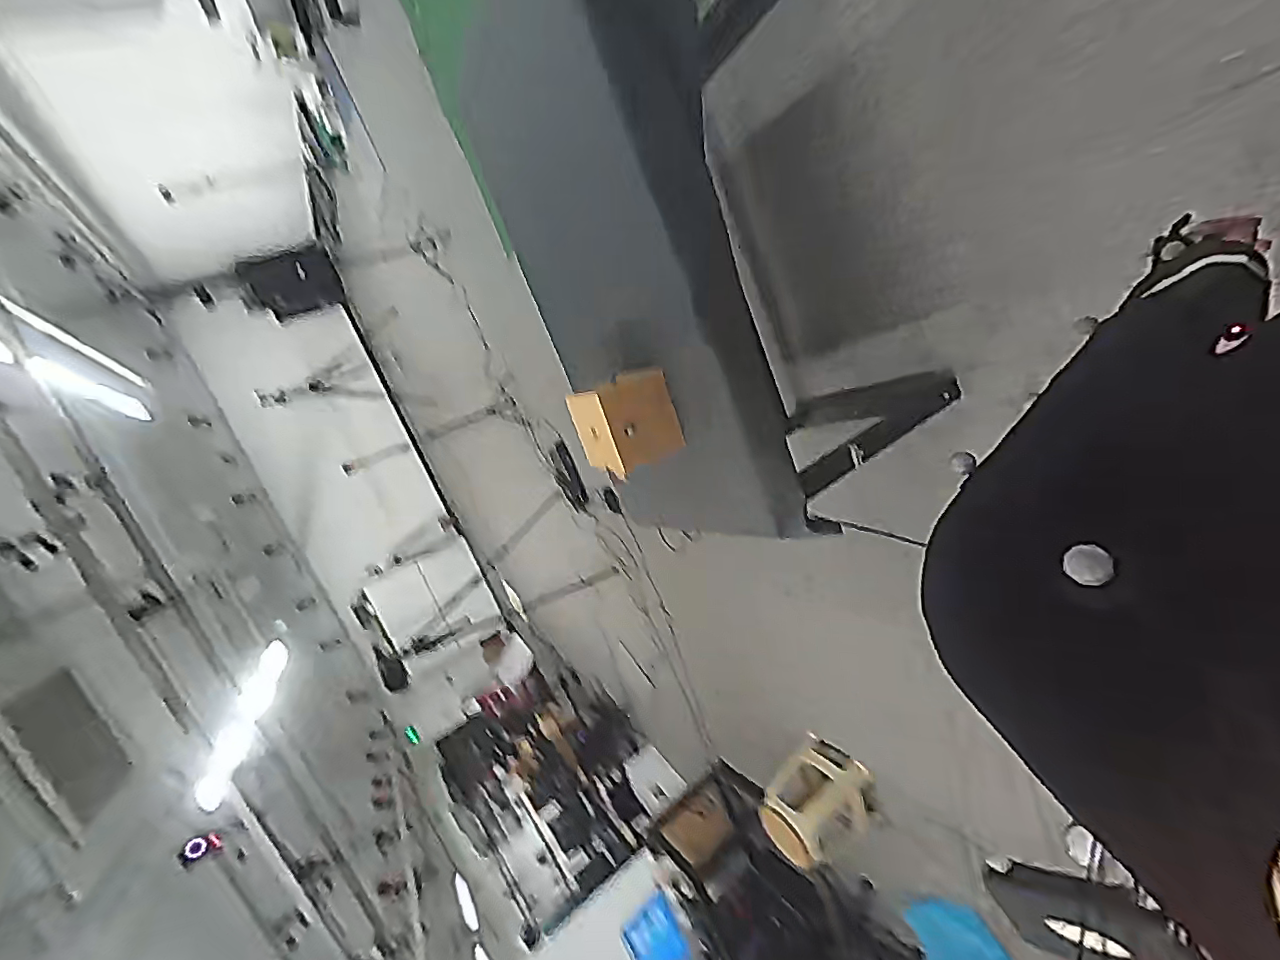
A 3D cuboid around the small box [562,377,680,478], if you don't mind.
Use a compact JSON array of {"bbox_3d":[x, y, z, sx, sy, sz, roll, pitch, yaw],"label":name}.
[{"bbox_3d":[-0.041,-0.121,1.192,0.168,0.176,0.179,8,122,58],"label":"small box"}]
